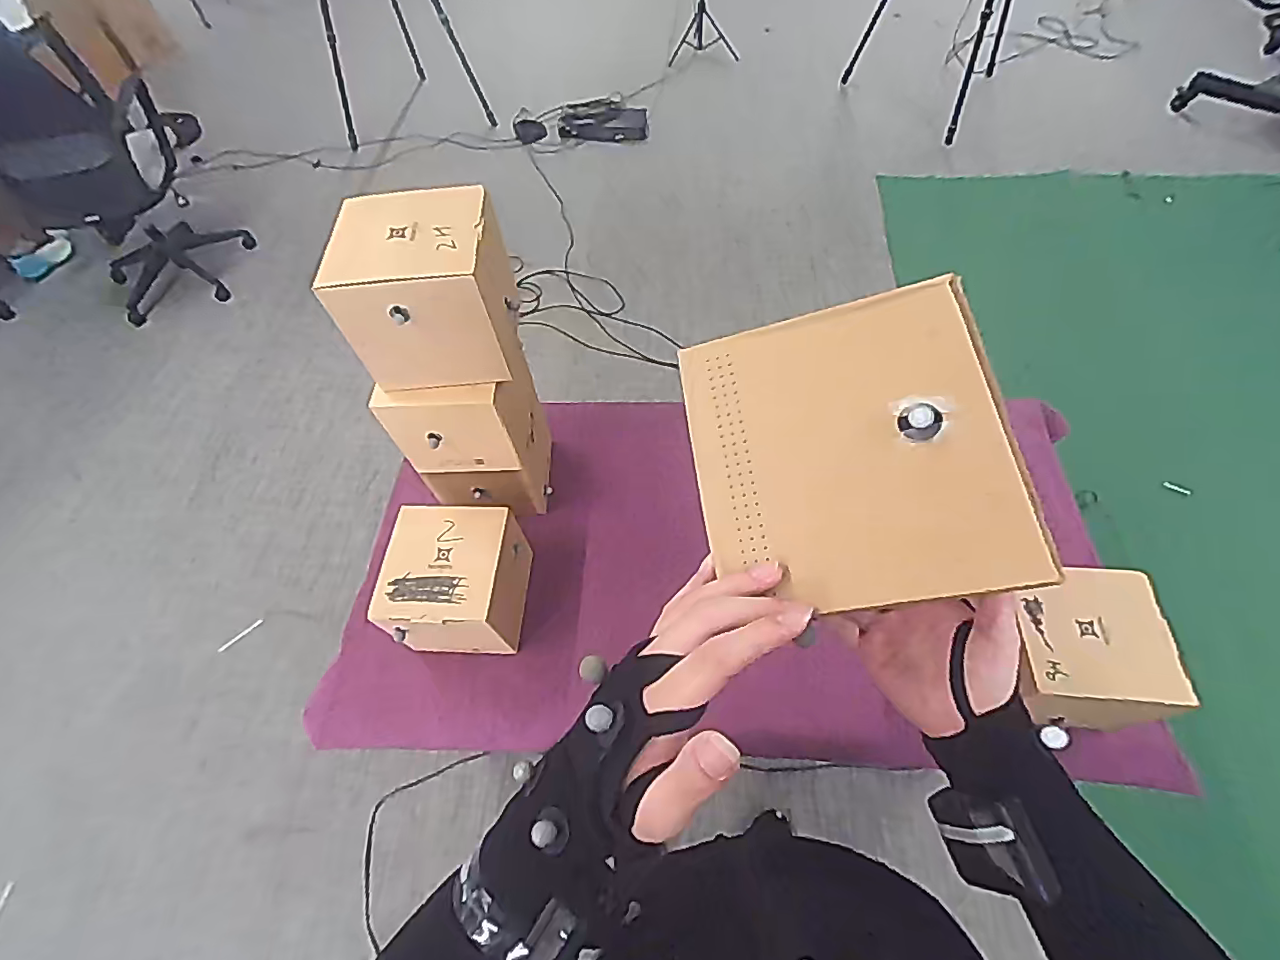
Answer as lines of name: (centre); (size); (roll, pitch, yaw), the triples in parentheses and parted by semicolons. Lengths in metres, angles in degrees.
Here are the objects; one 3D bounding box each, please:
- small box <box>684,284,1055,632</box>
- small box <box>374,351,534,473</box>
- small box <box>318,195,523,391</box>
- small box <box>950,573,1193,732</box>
small box: (0.134, 0.004, 0.375); (0.176, 0.168, 0.179); (-12, 72, 16)
small box: (-0.262, -0.120, 0.810); (0.168, 0.176, 0.179); (-2, 58, 2)
small box: (-0.258, -0.228, 0.683); (0.179, 0.176, 0.168); (-4, 58, 0)
small box: (0.558, 0.236, 0.732); (0.179, 0.176, 0.168); (4, 57, 6)
